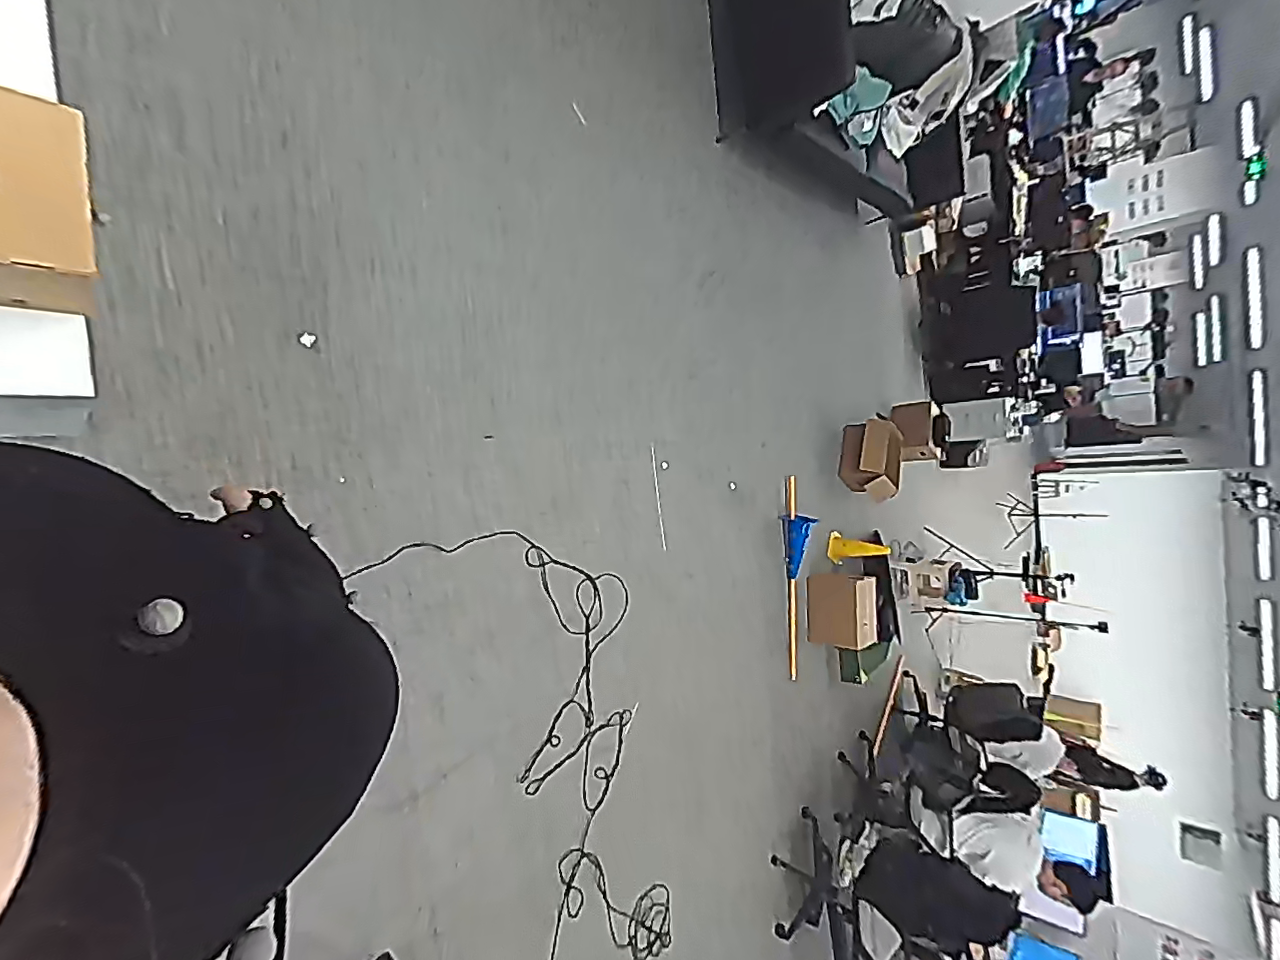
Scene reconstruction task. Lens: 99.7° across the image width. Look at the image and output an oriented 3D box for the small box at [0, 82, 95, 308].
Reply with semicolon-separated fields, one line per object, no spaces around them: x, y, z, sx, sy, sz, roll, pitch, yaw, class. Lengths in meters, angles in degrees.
-0.695;-0.299;0.565;0.168;0.176;0.179;-5;92;-46;small box
